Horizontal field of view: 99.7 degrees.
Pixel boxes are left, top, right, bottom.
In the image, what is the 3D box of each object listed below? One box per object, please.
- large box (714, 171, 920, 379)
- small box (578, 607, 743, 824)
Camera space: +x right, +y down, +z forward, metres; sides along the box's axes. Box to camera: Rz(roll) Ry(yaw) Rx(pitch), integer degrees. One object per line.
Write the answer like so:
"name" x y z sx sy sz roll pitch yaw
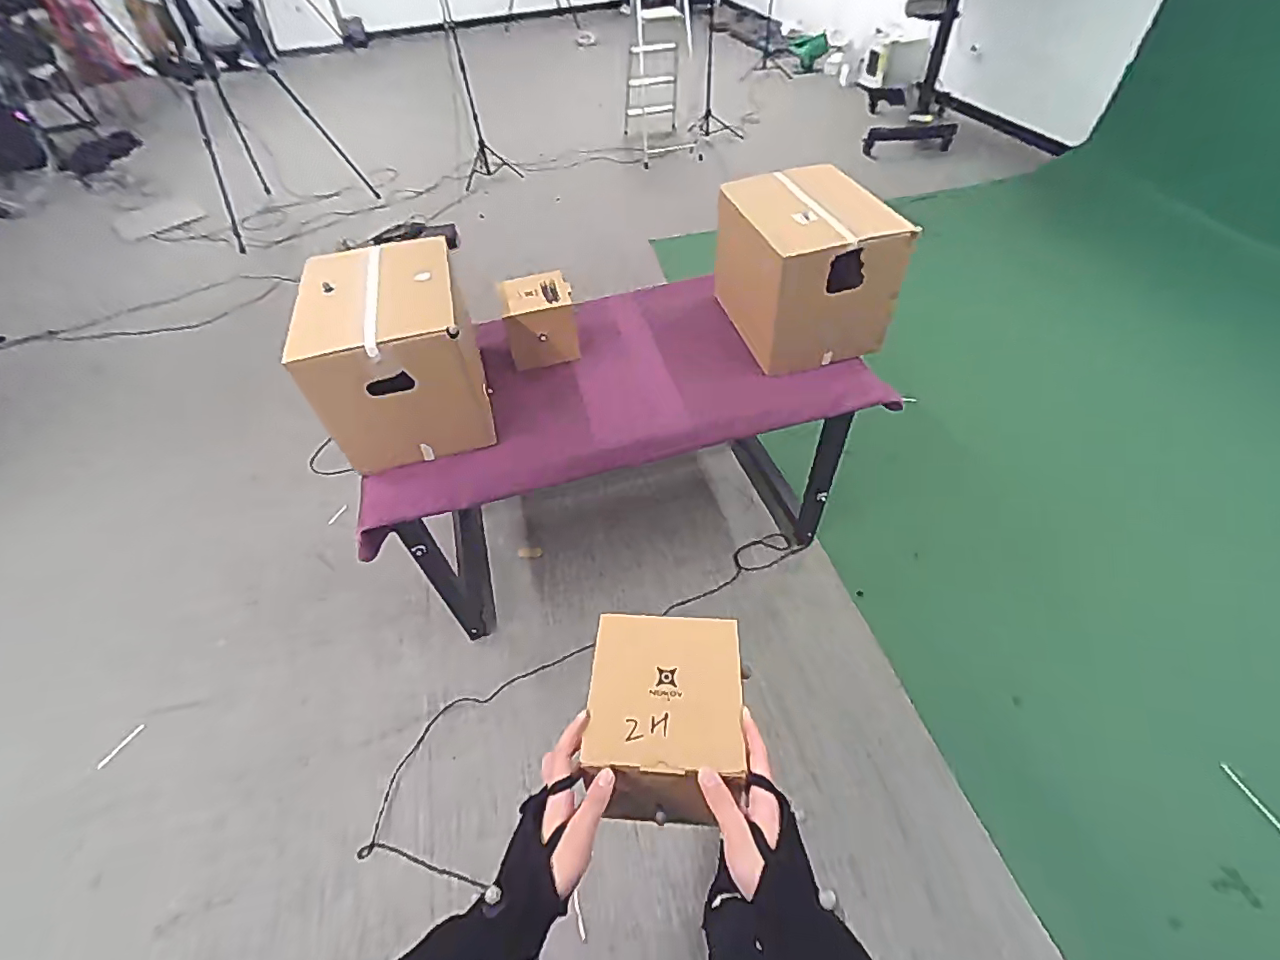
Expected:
"large box" 0.402 -0.520 1.358 0.320 0.320 0.408 -14 51 -6
"small box" 0.028 0.275 0.639 0.168 0.176 0.179 2 42 5
